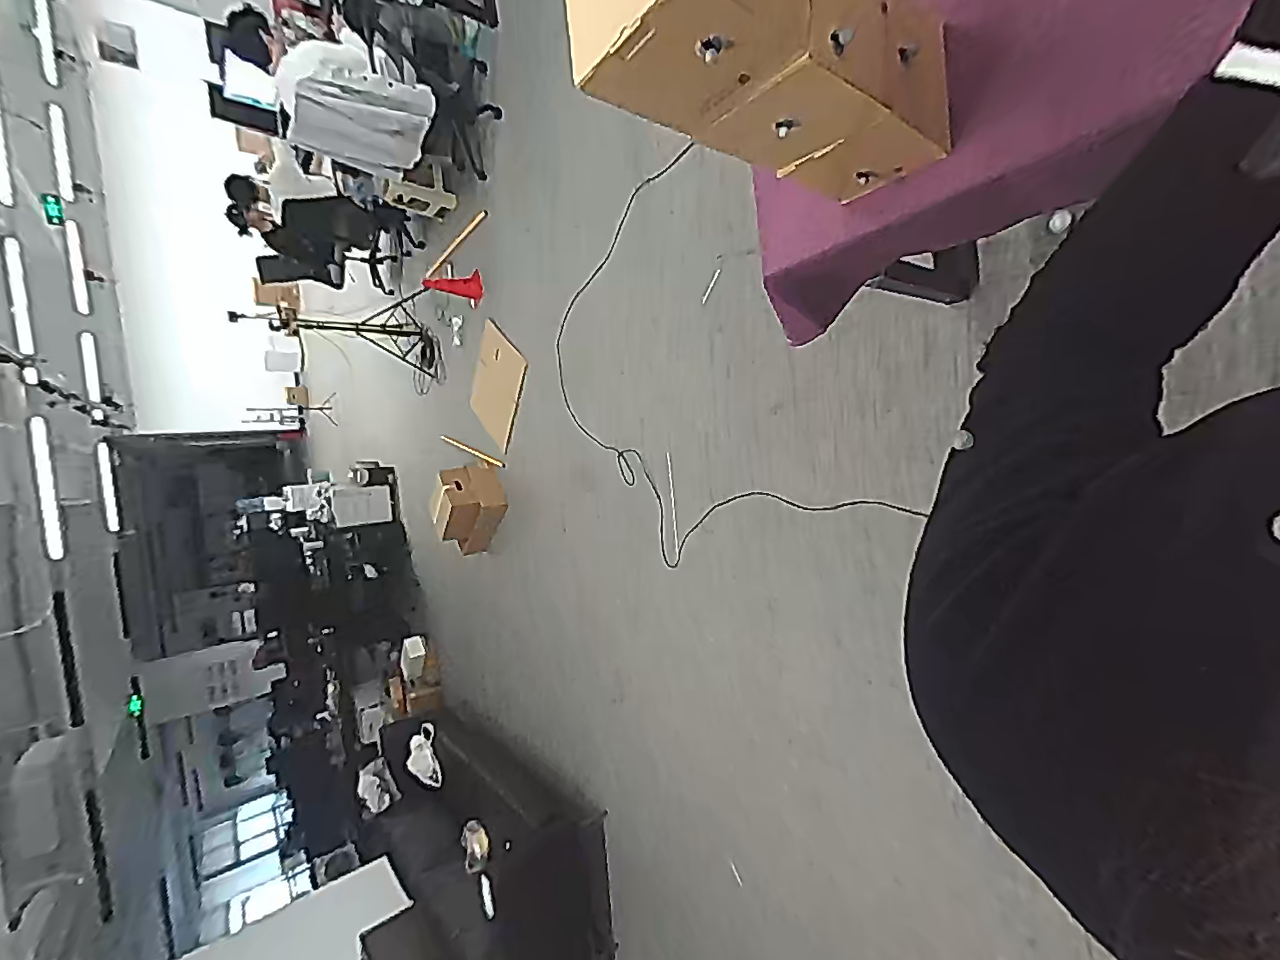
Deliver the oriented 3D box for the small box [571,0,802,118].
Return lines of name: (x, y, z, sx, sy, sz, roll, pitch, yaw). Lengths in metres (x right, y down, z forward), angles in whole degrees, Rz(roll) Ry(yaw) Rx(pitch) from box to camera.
small box: (0.044, -0.497, 0.536, 0.168, 0.176, 0.179, -1, 95, 51)

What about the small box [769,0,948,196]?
small box: (0.299, -0.524, 0.741, 0.168, 0.176, 0.179, -3, 94, 52)
